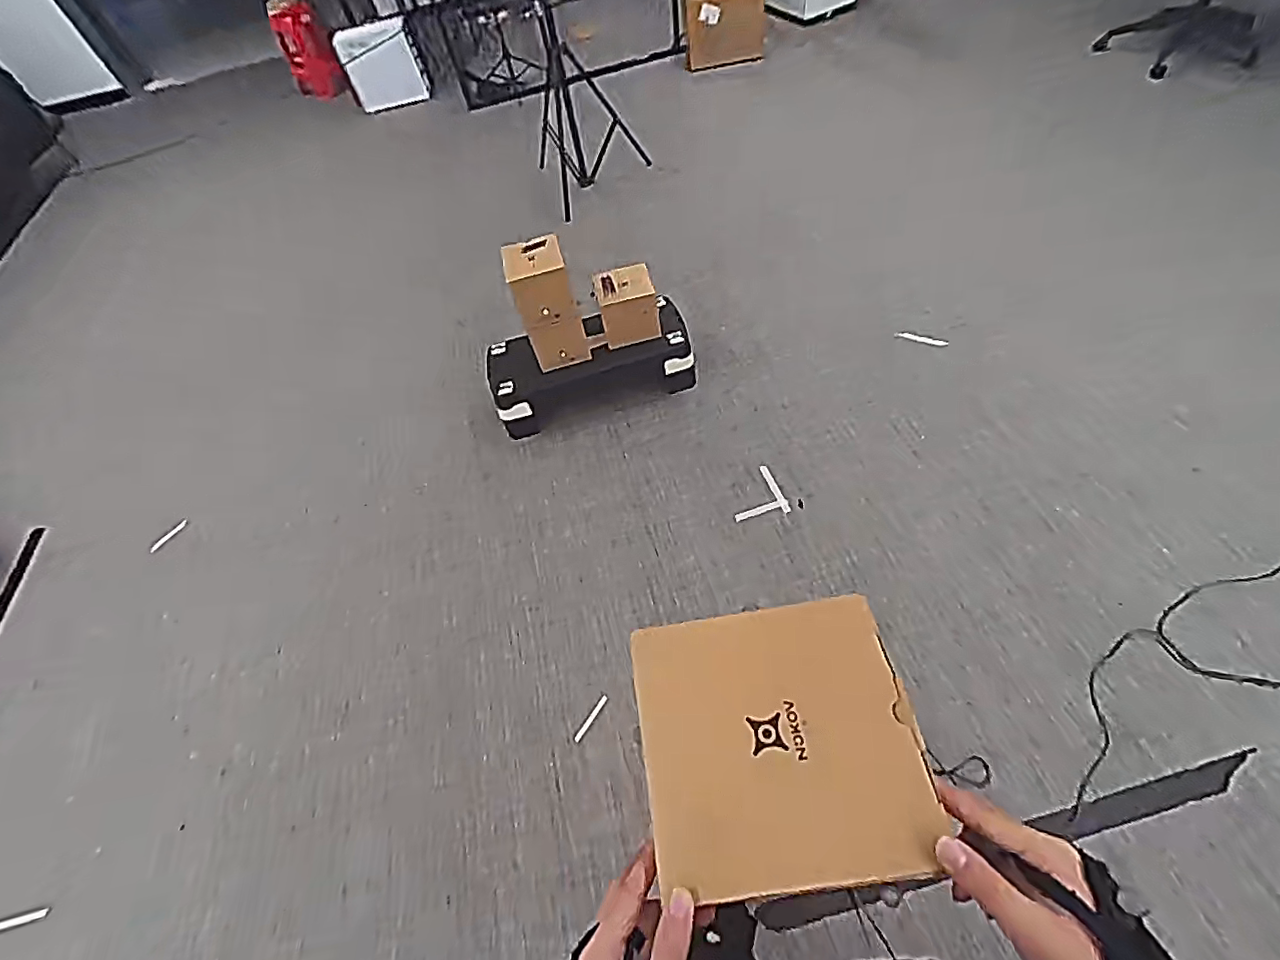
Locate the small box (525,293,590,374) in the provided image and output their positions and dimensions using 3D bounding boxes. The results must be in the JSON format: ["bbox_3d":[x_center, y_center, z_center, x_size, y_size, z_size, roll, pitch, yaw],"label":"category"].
[{"bbox_3d":[-0.264,-0.465,1.709,0.168,0.176,0.179,-16,54,-1],"label":"small box"}]

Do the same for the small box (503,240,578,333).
[{"bbox_3d":[-0.290,-0.562,1.578,0.168,0.176,0.179,-16,55,-1],"label":"small box"}]

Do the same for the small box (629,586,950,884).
[{"bbox_3d":[0.096,0.201,0.423,0.179,0.176,0.168,-10,57,2],"label":"small box"}]

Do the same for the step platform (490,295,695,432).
[{"bbox_3d":[-0.164,-0.404,1.863,0.684,0.204,0.286,-18,54,-2],"label":"step platform"}]
